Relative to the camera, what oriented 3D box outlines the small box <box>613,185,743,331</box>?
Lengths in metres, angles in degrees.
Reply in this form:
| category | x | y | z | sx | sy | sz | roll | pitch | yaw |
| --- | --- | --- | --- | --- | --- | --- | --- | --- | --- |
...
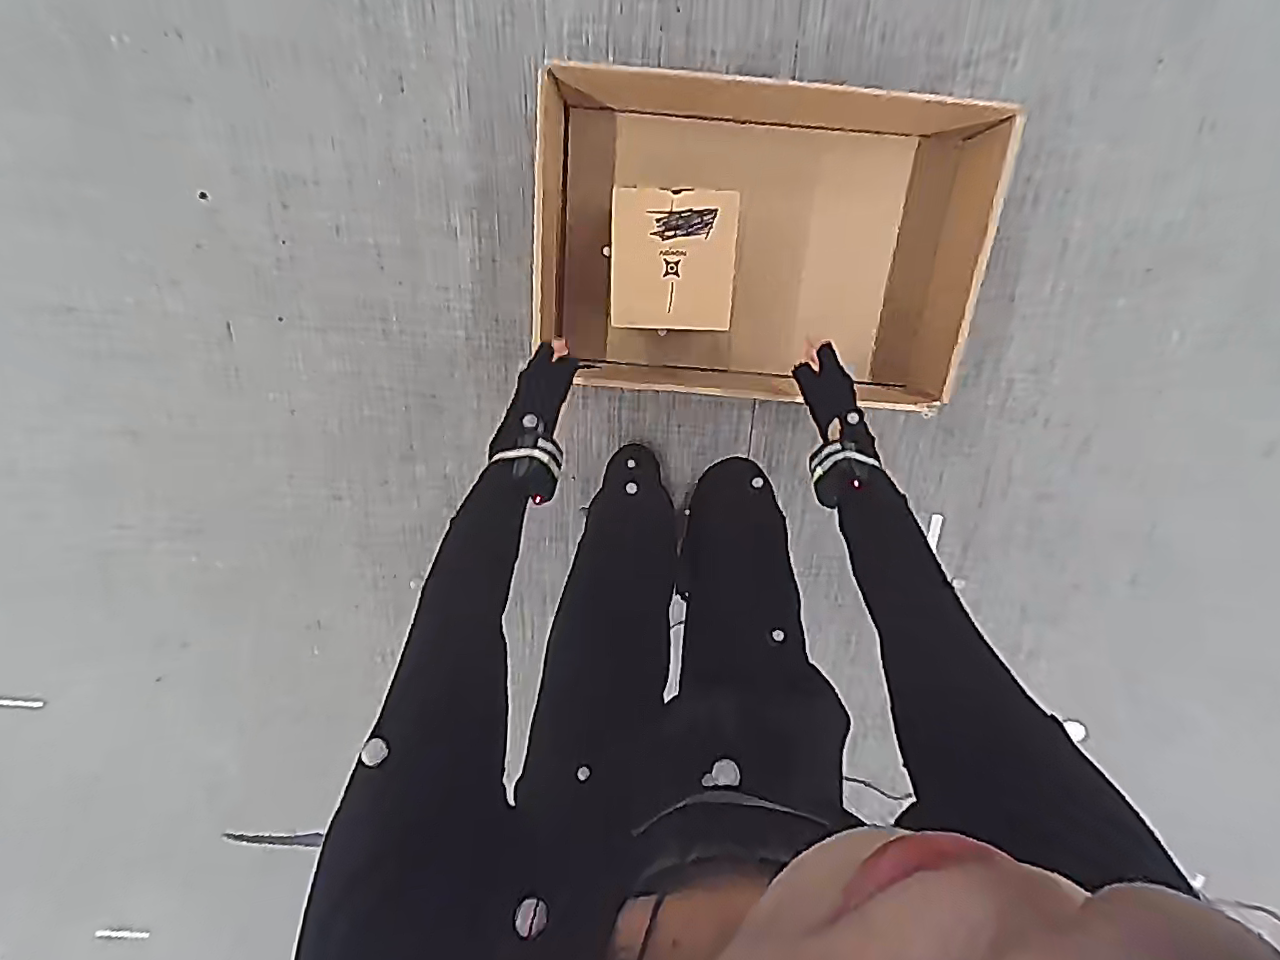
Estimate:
| category | x | y | z | sx | sy | sz | roll | pitch | yaw |
| --- | --- | --- | --- | --- | --- | --- | --- | --- | --- |
| small box | 0.046 | -0.314 | 0.788 | 0.168 | 0.176 | 0.179 | 2 | 109 | -1 |
